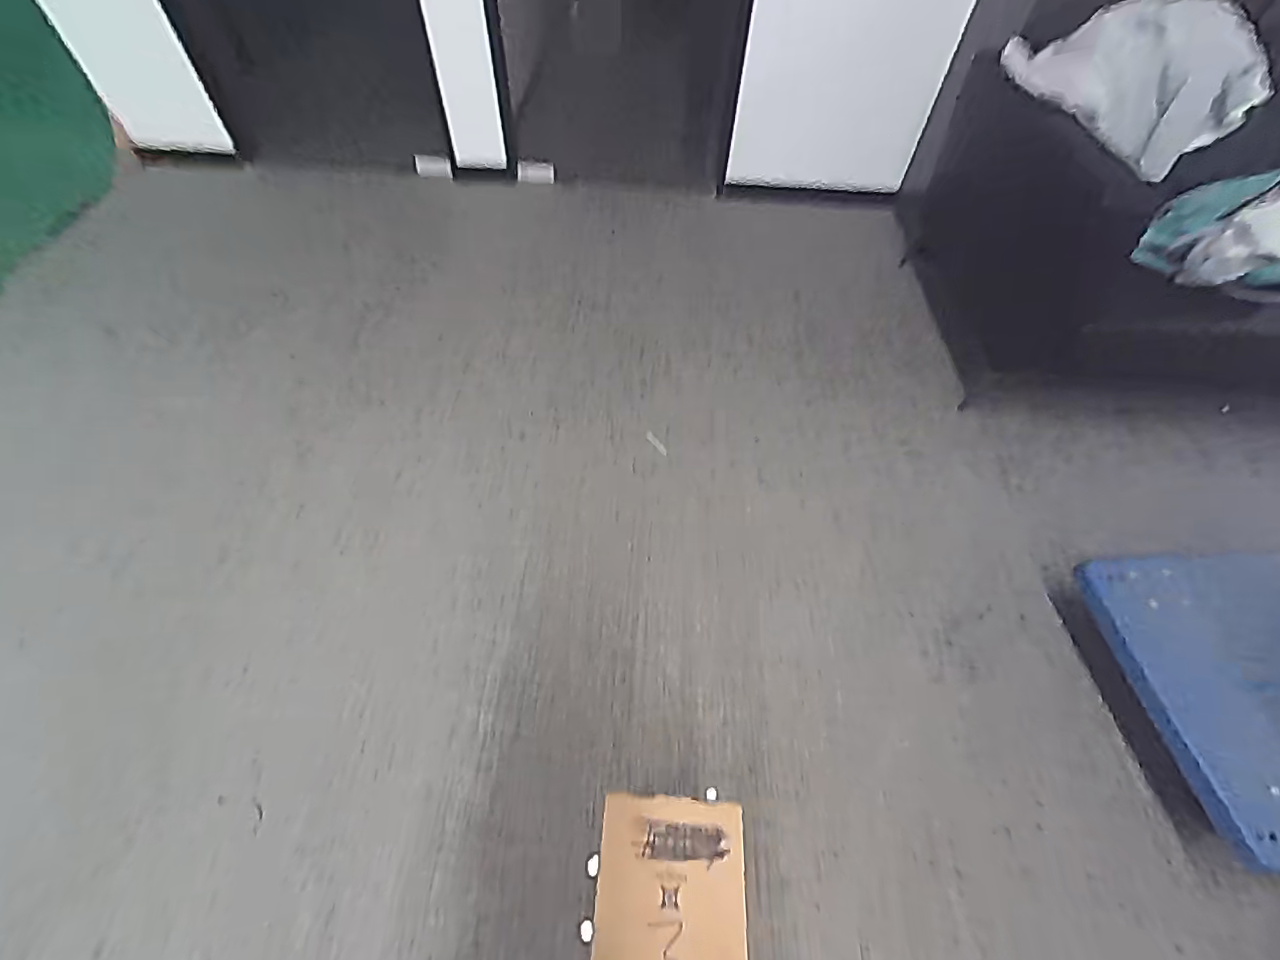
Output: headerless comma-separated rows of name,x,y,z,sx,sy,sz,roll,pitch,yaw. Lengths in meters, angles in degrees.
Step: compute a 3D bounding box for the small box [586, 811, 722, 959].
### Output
small box,0.020,0.596,0.792,0.179,0.176,0.168,5,54,0
